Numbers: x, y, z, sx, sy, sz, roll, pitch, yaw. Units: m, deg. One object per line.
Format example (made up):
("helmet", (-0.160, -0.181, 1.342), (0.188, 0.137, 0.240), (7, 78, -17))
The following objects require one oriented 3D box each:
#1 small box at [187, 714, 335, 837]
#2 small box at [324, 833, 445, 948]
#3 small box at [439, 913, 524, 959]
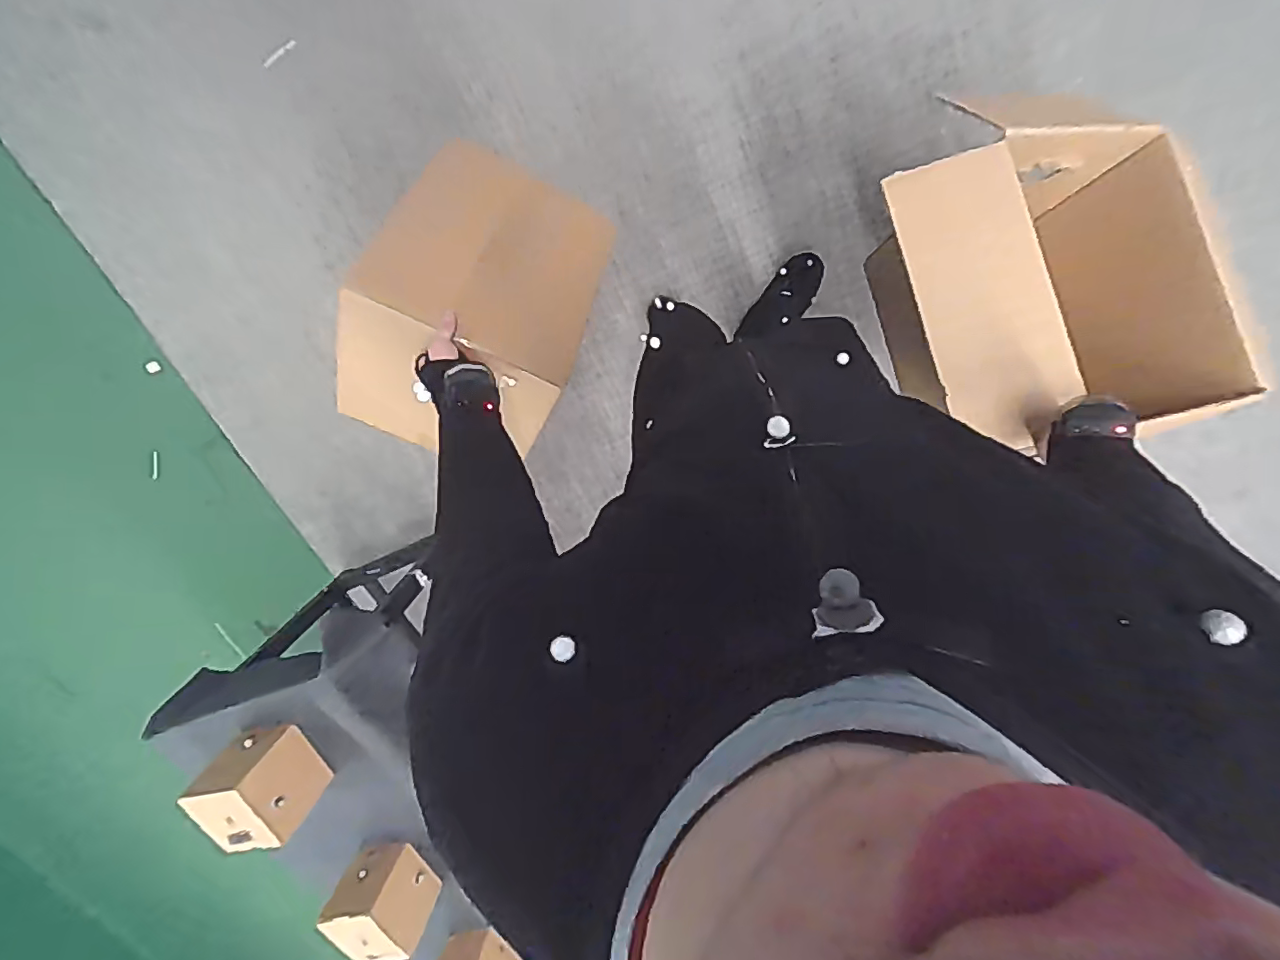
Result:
("small box", (-0.828, 0.654, 1.203), (0.168, 0.176, 0.179), (-15, 111, 15))
("small box", (-0.625, 1.009, 1.342), (0.168, 0.176, 0.179), (-19, 110, 17))
("small box", (-0.434, 1.306, 1.453), (0.179, 0.176, 0.168), (-29, 106, 22))
